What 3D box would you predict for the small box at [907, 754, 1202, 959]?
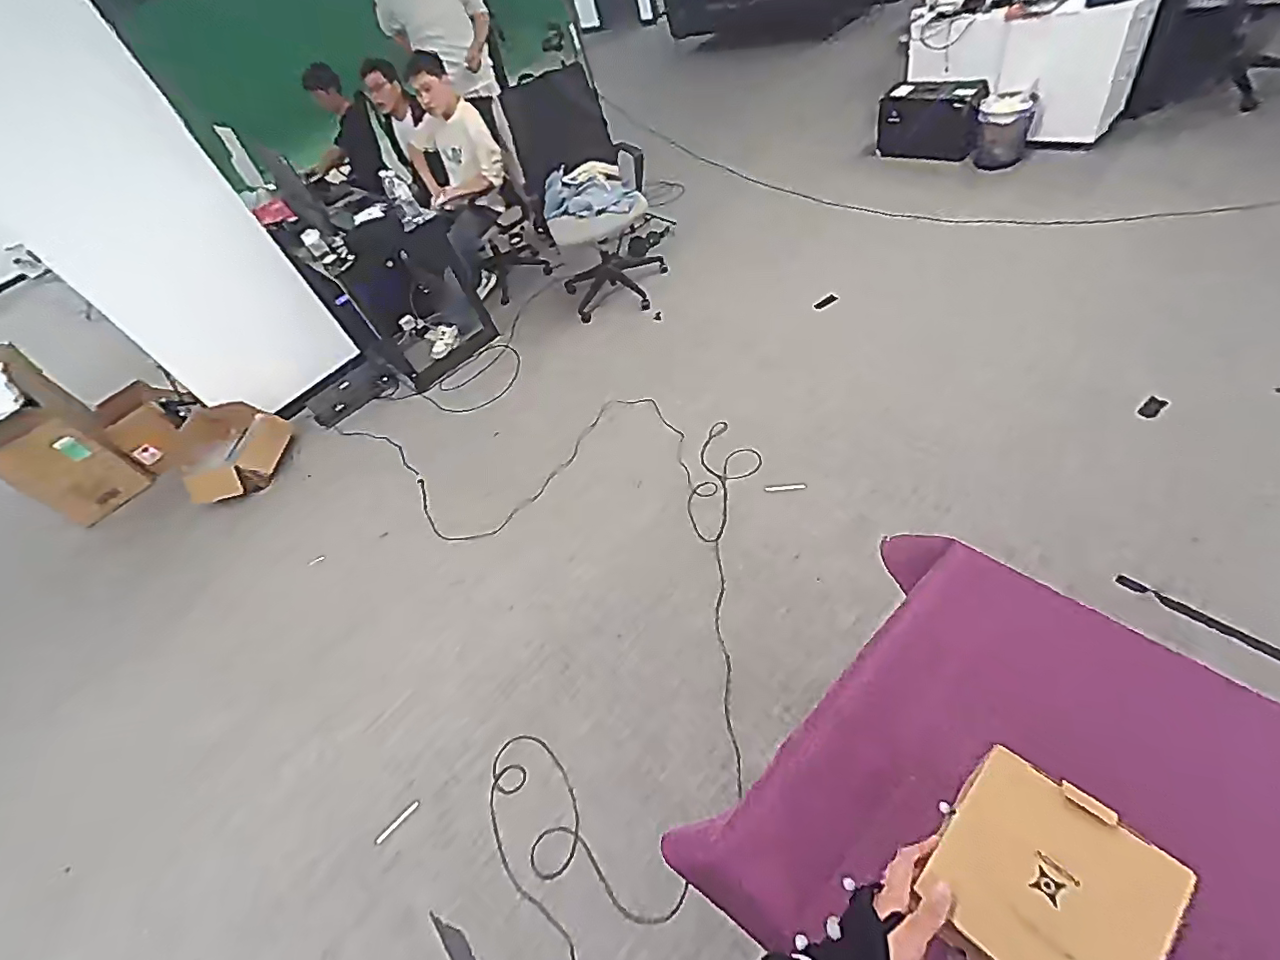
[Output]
[{"bbox_3d":[0.392,0.423,0.545,0.179,0.176,0.168,-43,50,-18],"label":"small box"}]
